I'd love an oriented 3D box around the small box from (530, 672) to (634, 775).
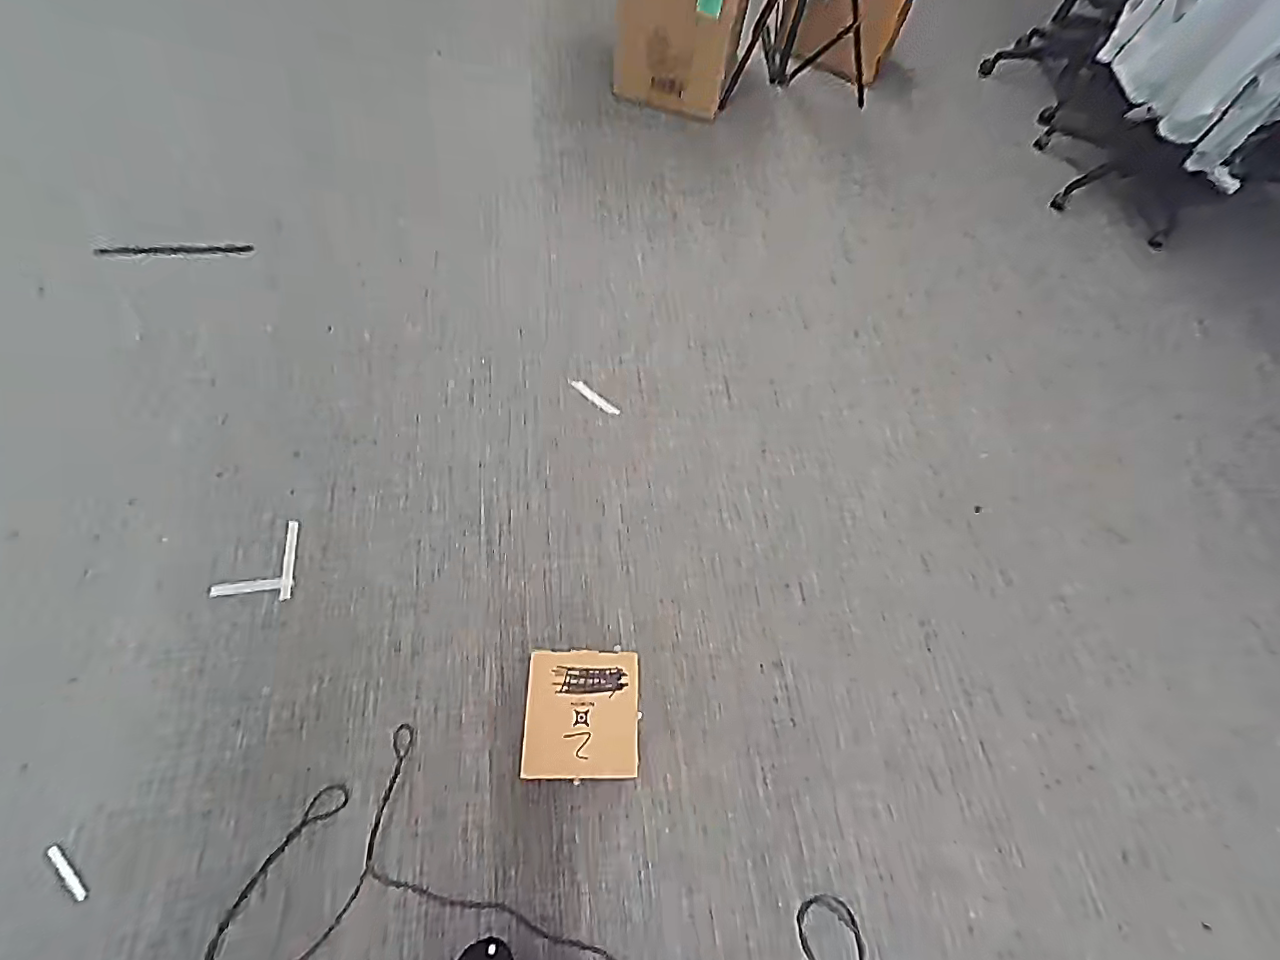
[{"bbox_3d":[-0.104,0.458,1.011,0.179,0.176,0.168,2,63,-5],"label":"small box"}]
